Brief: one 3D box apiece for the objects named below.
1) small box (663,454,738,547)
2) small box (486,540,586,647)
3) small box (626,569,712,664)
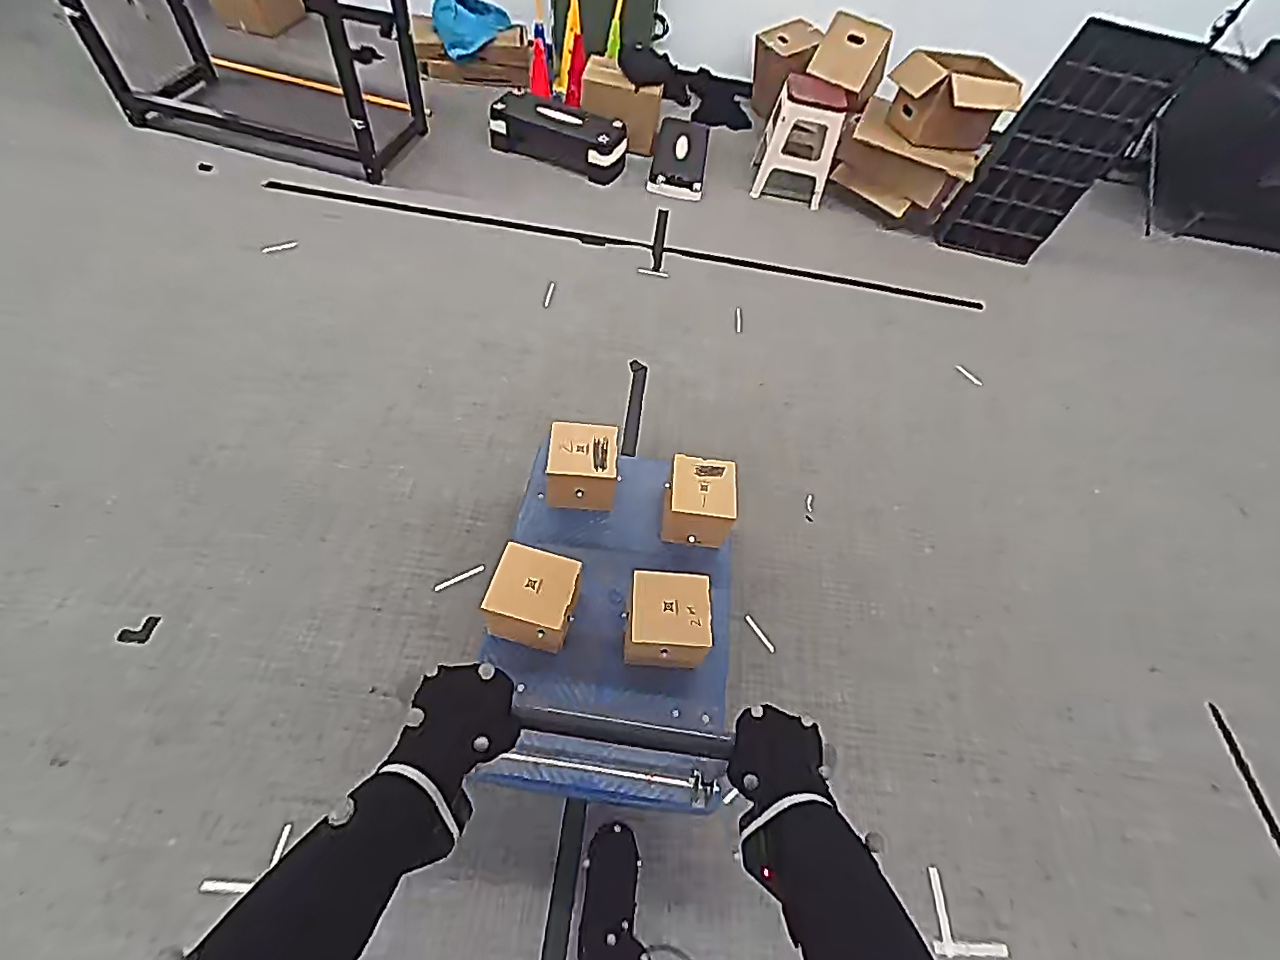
[{"bbox_3d":[0.158,0.058,1.448,0.168,0.176,0.179,8,57,-4],"label":"small box"},{"bbox_3d":[-0.237,0.267,1.245,0.179,0.176,0.168,17,55,0],"label":"small box"},{"bbox_3d":[0.063,0.322,1.257,0.179,0.176,0.168,6,56,-5],"label":"small box"}]
